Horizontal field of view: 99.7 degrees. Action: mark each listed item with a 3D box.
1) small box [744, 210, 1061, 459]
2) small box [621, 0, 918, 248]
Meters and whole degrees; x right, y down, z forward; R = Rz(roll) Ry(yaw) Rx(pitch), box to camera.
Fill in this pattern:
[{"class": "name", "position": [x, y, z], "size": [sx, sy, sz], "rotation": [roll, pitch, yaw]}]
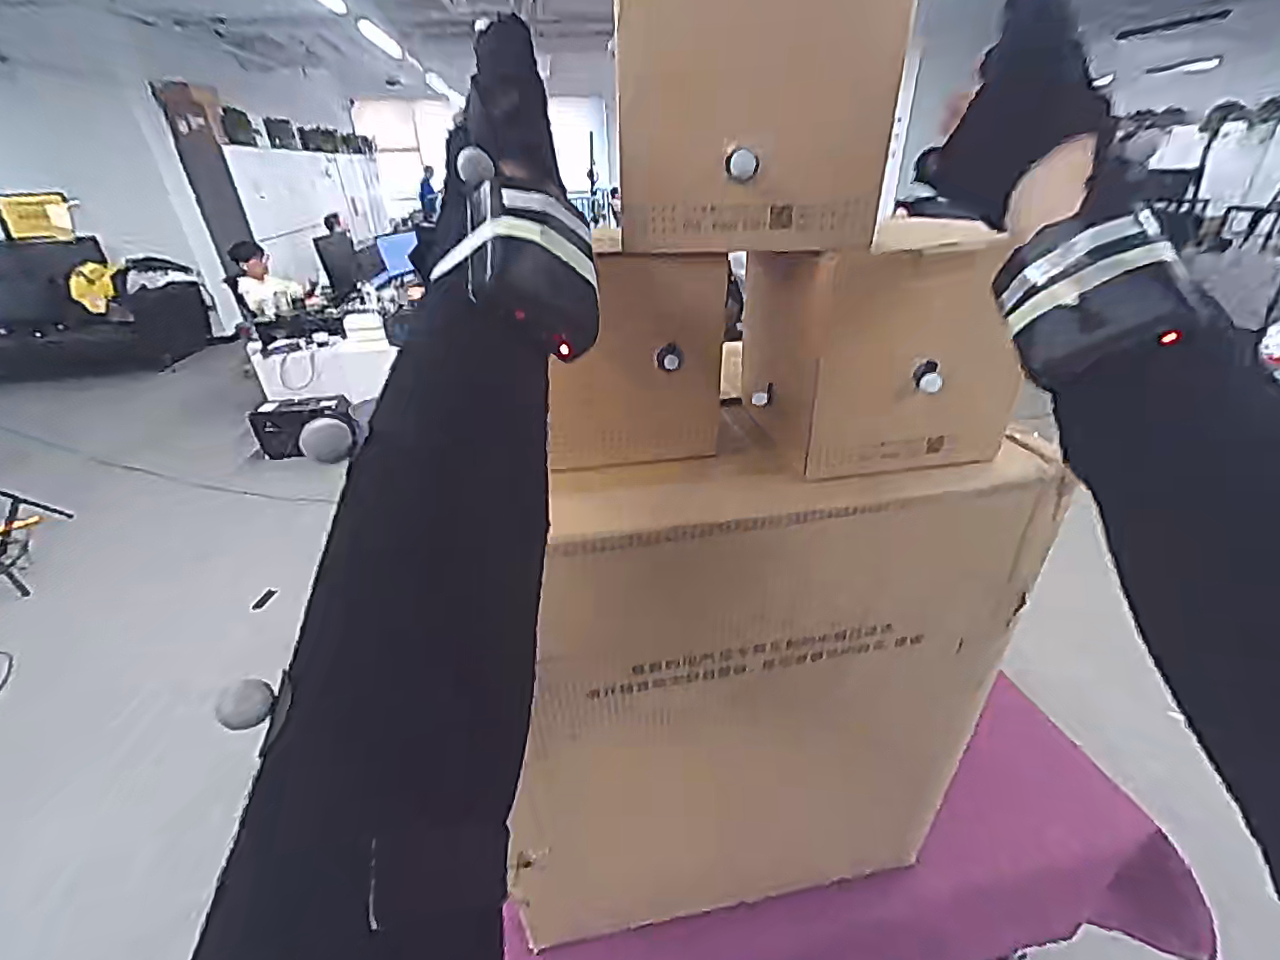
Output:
[{"class": "small box", "position": [0.194, -0.125, 0.462], "size": [0.168, 0.176, 0.179], "rotation": [-6, 30, -5]}, {"class": "small box", "position": [0.075, -0.268, 0.389], "size": [0.168, 0.176, 0.179], "rotation": [0, 30, 4]}]
